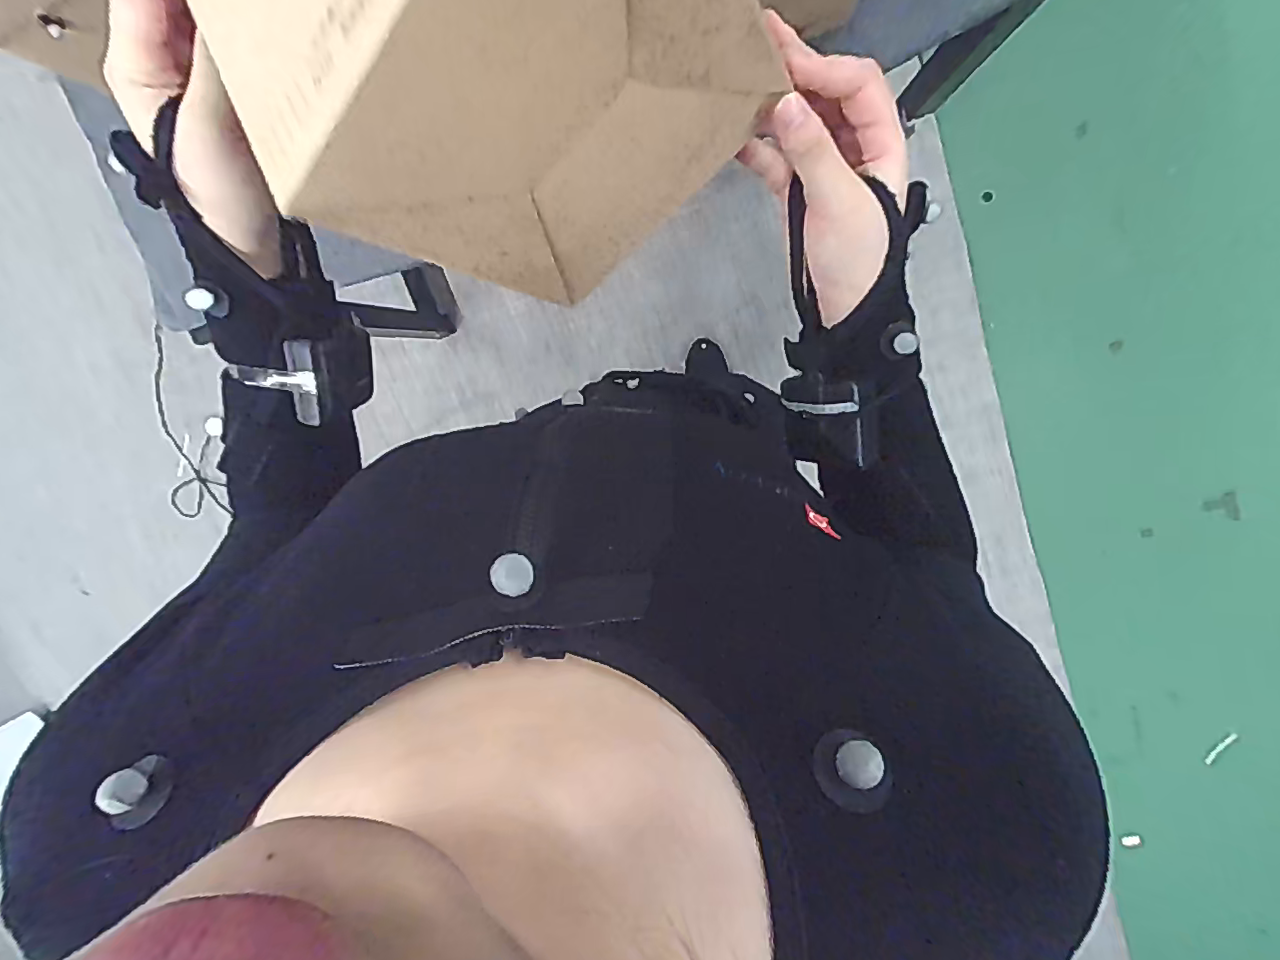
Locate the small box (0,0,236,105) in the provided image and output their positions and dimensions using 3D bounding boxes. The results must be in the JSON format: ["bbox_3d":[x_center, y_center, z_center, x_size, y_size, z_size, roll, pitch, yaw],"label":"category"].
[{"bbox_3d":[-0.608,-0.564,0.591,0.168,0.176,0.179,-21,101,10],"label":"small box"}]
